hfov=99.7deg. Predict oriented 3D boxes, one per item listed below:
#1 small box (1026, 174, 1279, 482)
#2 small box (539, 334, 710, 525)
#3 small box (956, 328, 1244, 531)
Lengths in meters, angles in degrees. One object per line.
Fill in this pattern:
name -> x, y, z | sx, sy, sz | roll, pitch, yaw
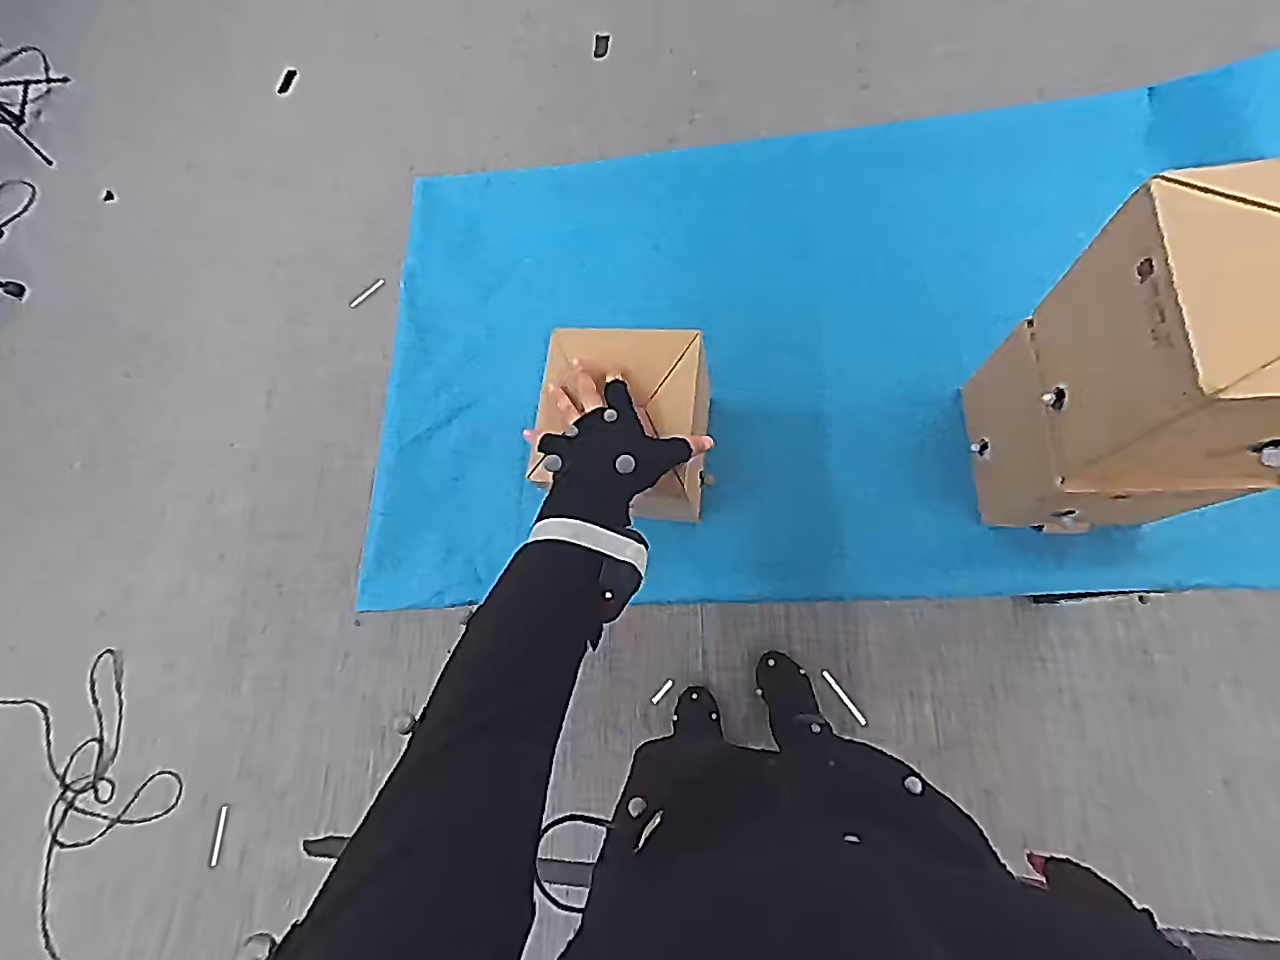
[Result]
small box -> 0.434, -0.102, 0.403 | 0.179, 0.176, 0.168 | -1, 73, 13
small box -> -0.008, -0.052, 0.641 | 0.168, 0.176, 0.179 | 3, 75, 11
small box -> 0.457, -0.051, 0.558 | 0.168, 0.176, 0.179 | -2, 74, 10
